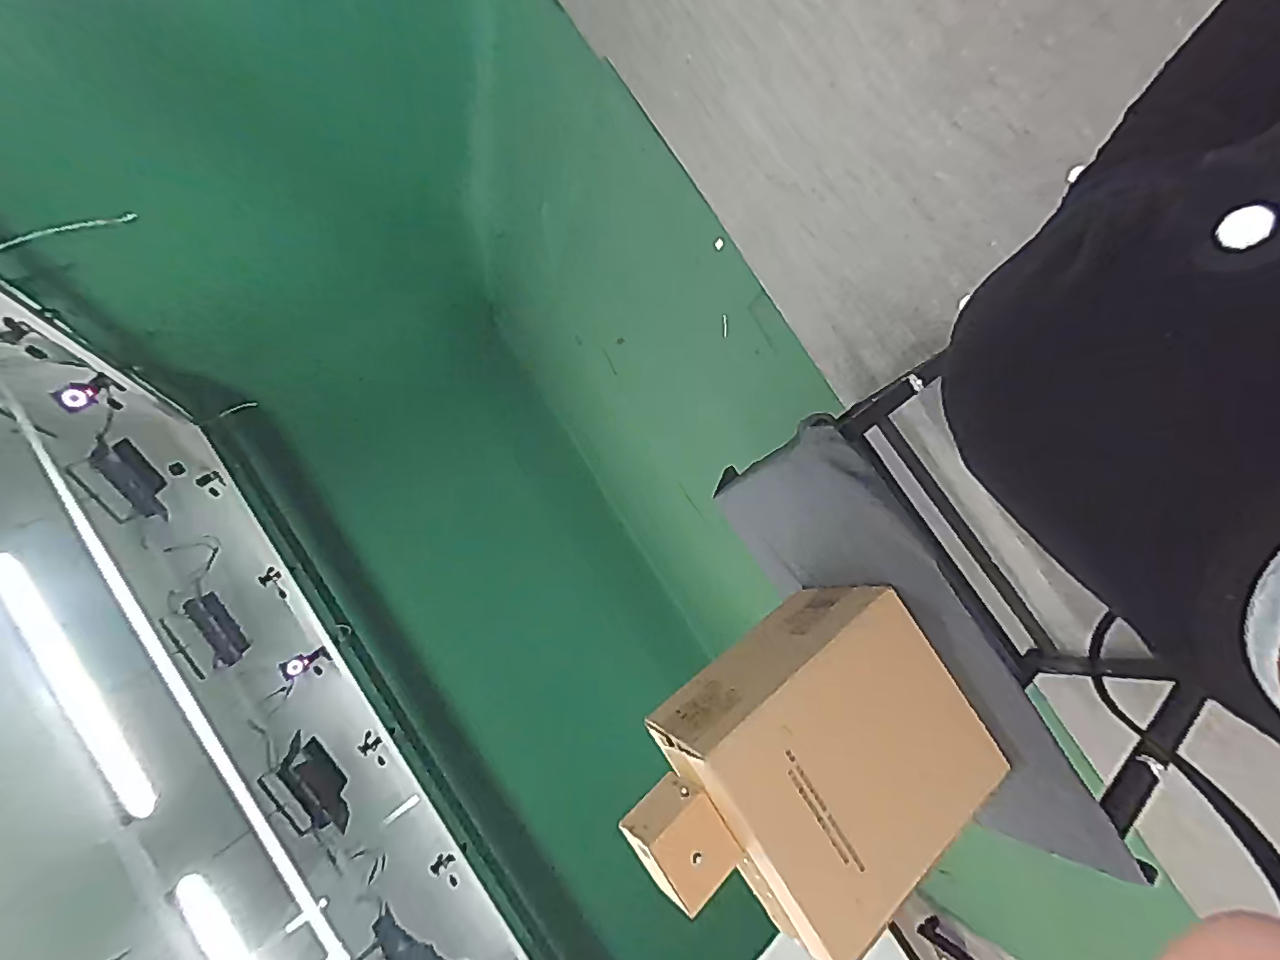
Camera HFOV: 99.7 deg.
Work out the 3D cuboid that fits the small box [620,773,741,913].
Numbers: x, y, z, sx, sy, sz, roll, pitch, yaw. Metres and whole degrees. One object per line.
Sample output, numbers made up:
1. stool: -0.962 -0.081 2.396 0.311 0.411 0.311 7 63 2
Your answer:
1. small box: 0.090 0.799 1.216 0.179 0.176 0.168 57 152 0
